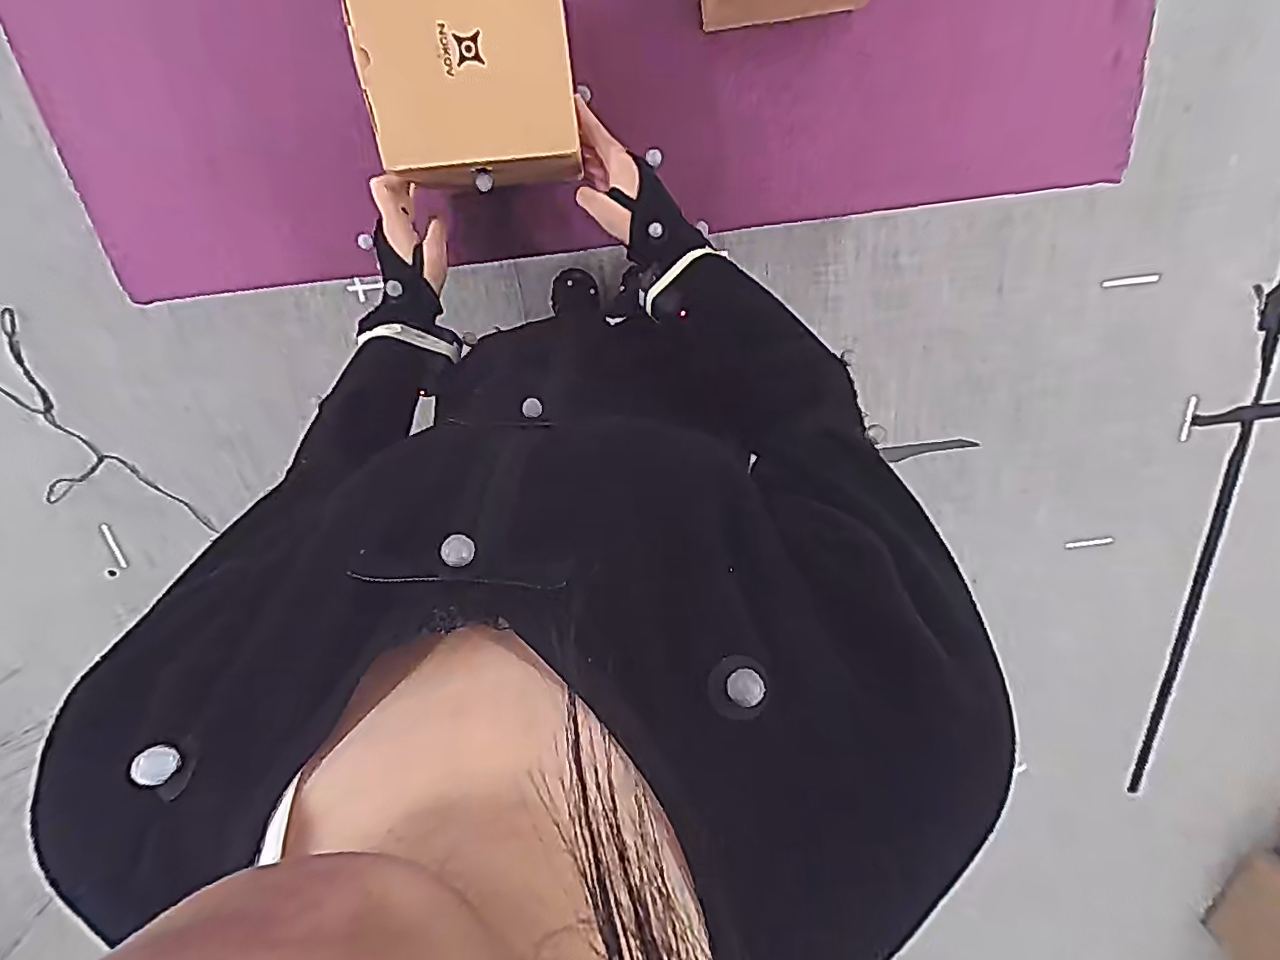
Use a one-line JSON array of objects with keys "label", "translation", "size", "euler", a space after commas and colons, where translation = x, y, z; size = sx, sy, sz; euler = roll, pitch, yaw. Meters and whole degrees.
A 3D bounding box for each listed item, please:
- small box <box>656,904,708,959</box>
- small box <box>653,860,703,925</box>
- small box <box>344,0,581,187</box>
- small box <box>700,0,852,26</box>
[{"label": "small box", "translation": [0.154, 1.693, 1.979], "size": [0.168, 0.176, 0.179], "euler": [-9, 113, 1]}, {"label": "small box", "translation": [0.146, 1.633, 2.130], "size": [0.168, 0.176, 0.179], "euler": [-9, 112, 0]}, {"label": "small box", "translation": [-0.151, -0.387, 0.518], "size": [0.179, 0.176, 0.168], "euler": [-6, 113, -1]}, {"label": "small box", "translation": [0.148, -0.543, 0.477], "size": [0.179, 0.176, 0.168], "euler": [-8, 111, 0]}]
